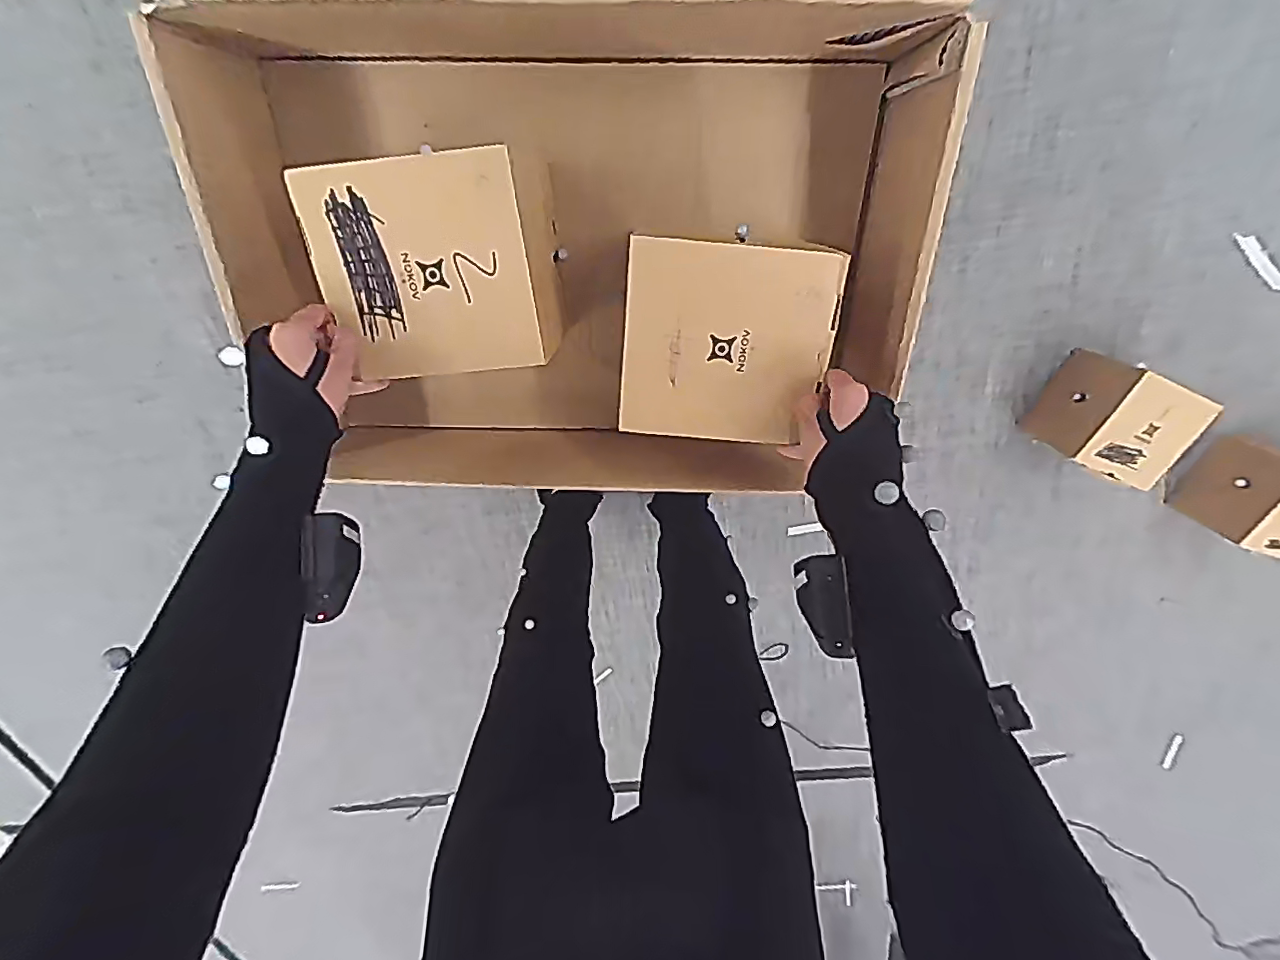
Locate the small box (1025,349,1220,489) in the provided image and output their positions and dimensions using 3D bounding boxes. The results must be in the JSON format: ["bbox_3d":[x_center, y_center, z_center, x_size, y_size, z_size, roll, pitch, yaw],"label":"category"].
[{"bbox_3d":[0.858,-0.117,0.990,0.168,0.176,0.179,21,115,-9],"label":"small box"}]

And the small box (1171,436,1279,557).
[{"bbox_3d":[1.219,0.034,1.054,0.168,0.176,0.179,15,115,-5],"label":"small box"}]
